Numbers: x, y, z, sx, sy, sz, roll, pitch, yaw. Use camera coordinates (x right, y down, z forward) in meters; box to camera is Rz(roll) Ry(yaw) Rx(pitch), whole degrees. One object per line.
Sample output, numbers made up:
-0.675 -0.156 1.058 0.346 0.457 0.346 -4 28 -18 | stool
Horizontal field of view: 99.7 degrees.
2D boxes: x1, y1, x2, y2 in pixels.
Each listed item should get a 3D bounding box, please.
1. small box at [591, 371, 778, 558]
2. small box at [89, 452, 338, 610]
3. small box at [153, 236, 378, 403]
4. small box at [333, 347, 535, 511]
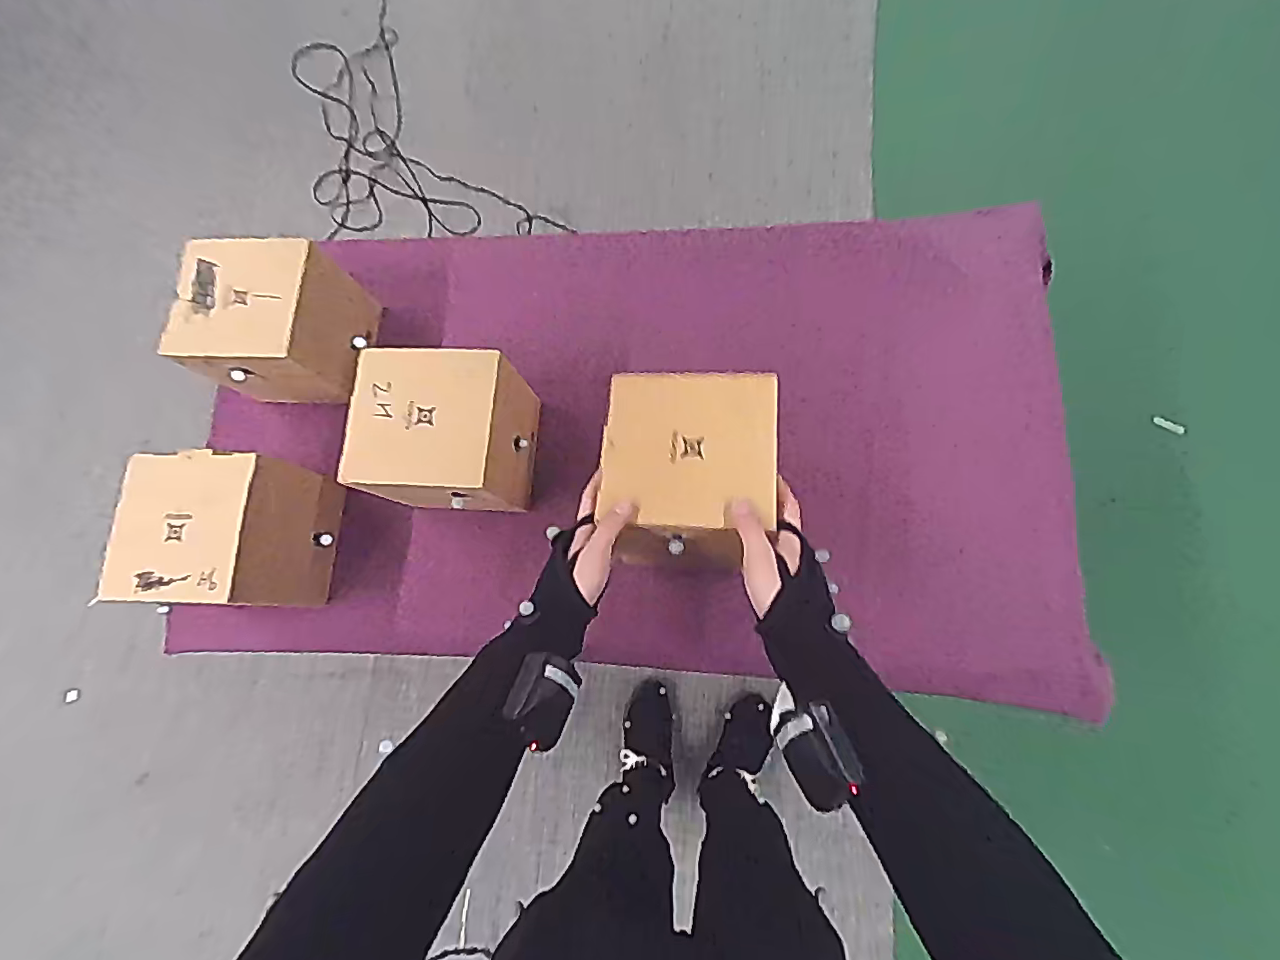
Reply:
0.058 -0.009 0.604 0.179 0.176 0.168 2 73 11 | small box
-0.520 0.072 0.689 0.168 0.176 0.179 1 76 6 | small box
-0.502 -0.212 0.749 0.179 0.176 0.168 2 79 6 | small box
-0.243 -0.055 0.686 0.179 0.176 0.168 2 78 7 | small box
